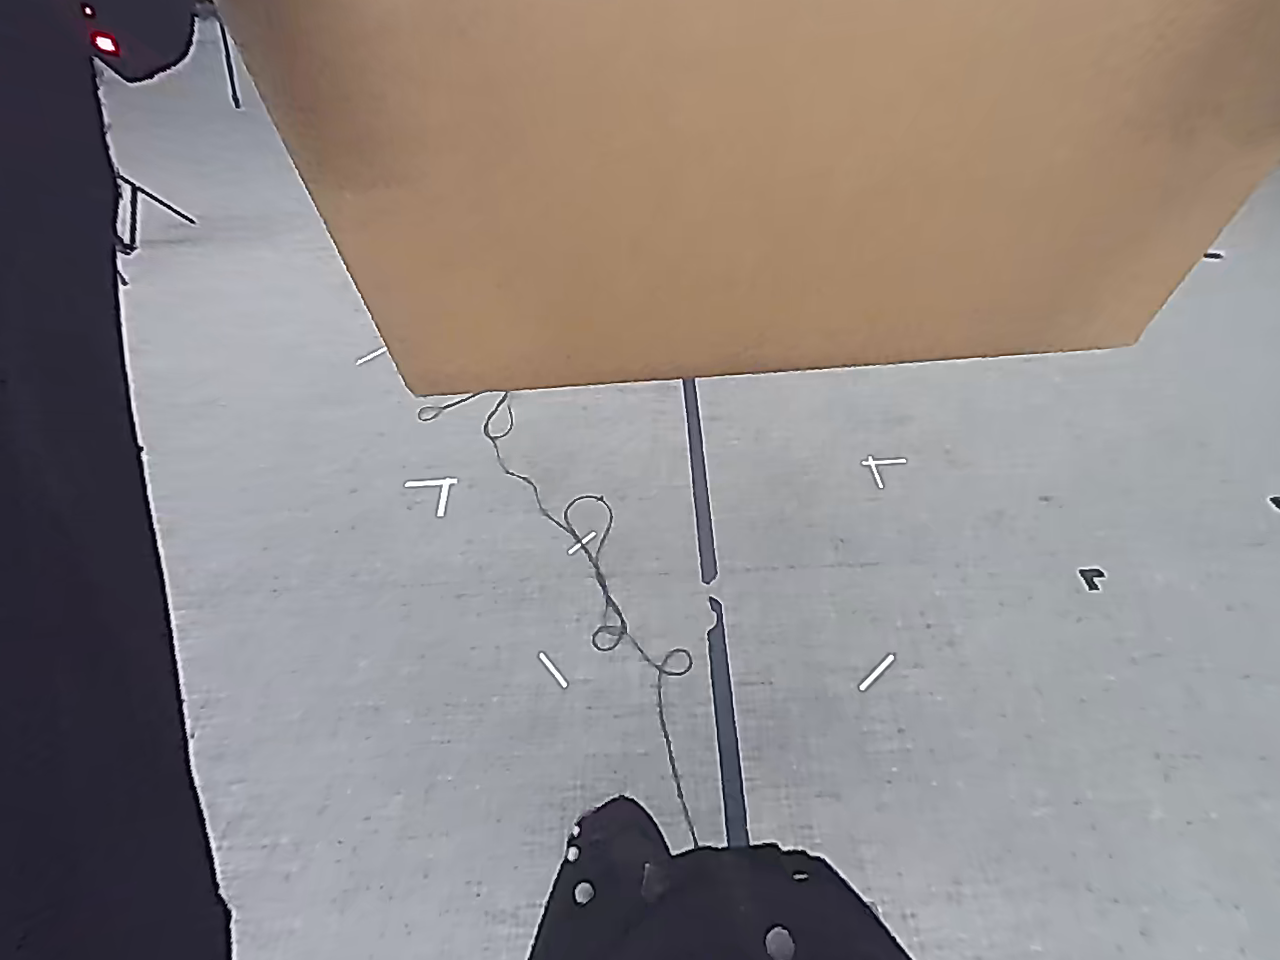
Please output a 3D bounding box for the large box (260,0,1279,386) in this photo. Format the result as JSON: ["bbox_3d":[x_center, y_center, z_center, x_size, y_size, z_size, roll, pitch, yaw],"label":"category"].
[{"bbox_3d":[0.055,-0.277,0.298,0.408,0.320,0.320,-4,50,-1],"label":"large box"}]
